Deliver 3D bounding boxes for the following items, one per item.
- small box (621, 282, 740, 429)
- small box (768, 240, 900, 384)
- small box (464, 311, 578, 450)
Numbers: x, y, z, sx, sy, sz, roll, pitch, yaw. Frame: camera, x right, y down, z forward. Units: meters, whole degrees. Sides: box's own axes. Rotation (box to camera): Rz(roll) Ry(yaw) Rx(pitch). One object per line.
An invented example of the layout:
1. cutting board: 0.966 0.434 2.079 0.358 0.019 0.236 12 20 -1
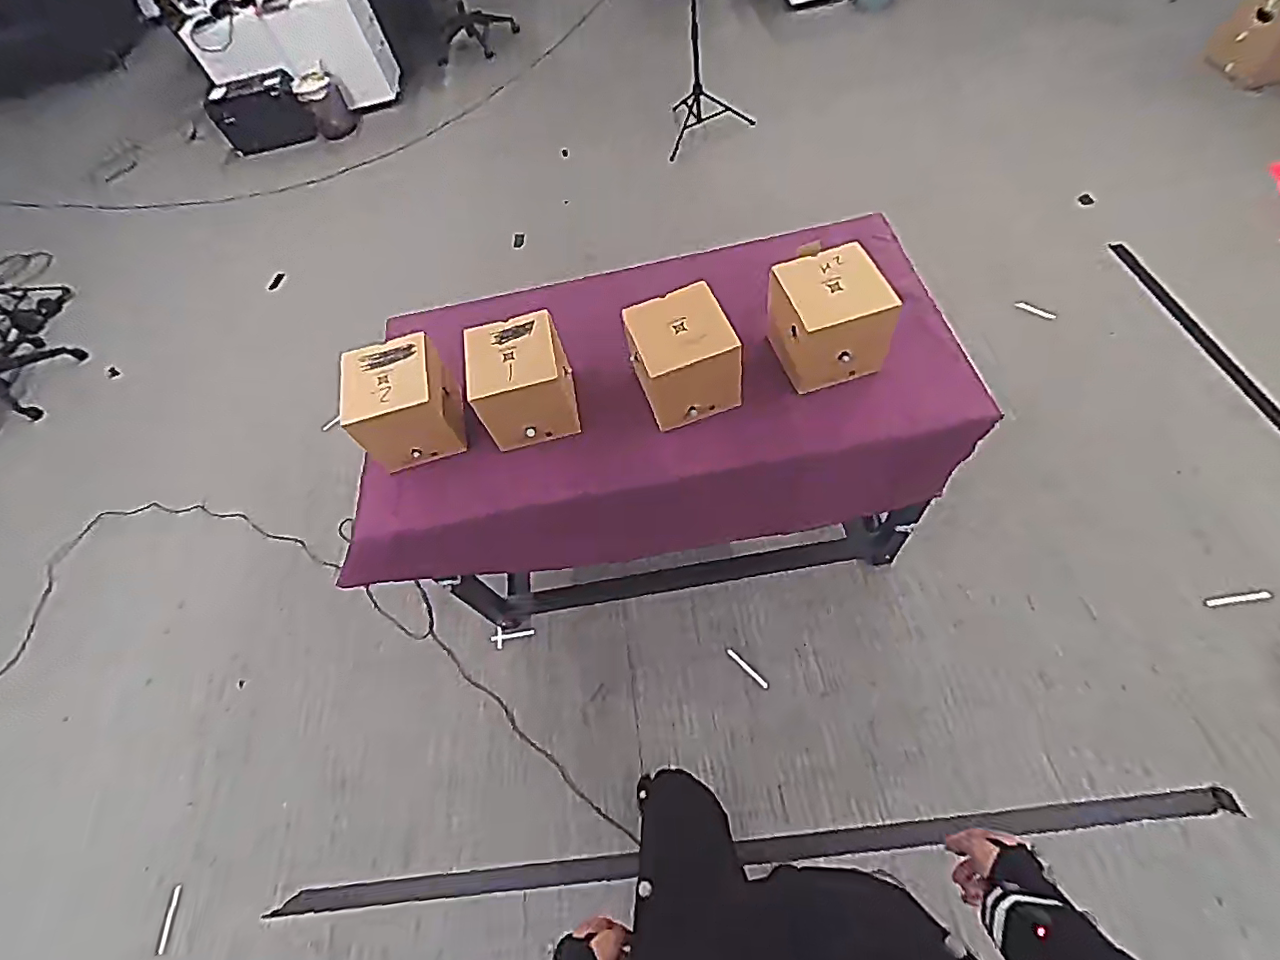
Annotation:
1. small box: 0.077 -0.227 1.006 0.168 0.176 0.179 -20 58 -1
2. small box: 0.344 -0.299 0.996 0.168 0.176 0.179 -17 58 1
3. small box: -0.225 -0.186 1.036 0.168 0.176 0.179 -15 59 2
